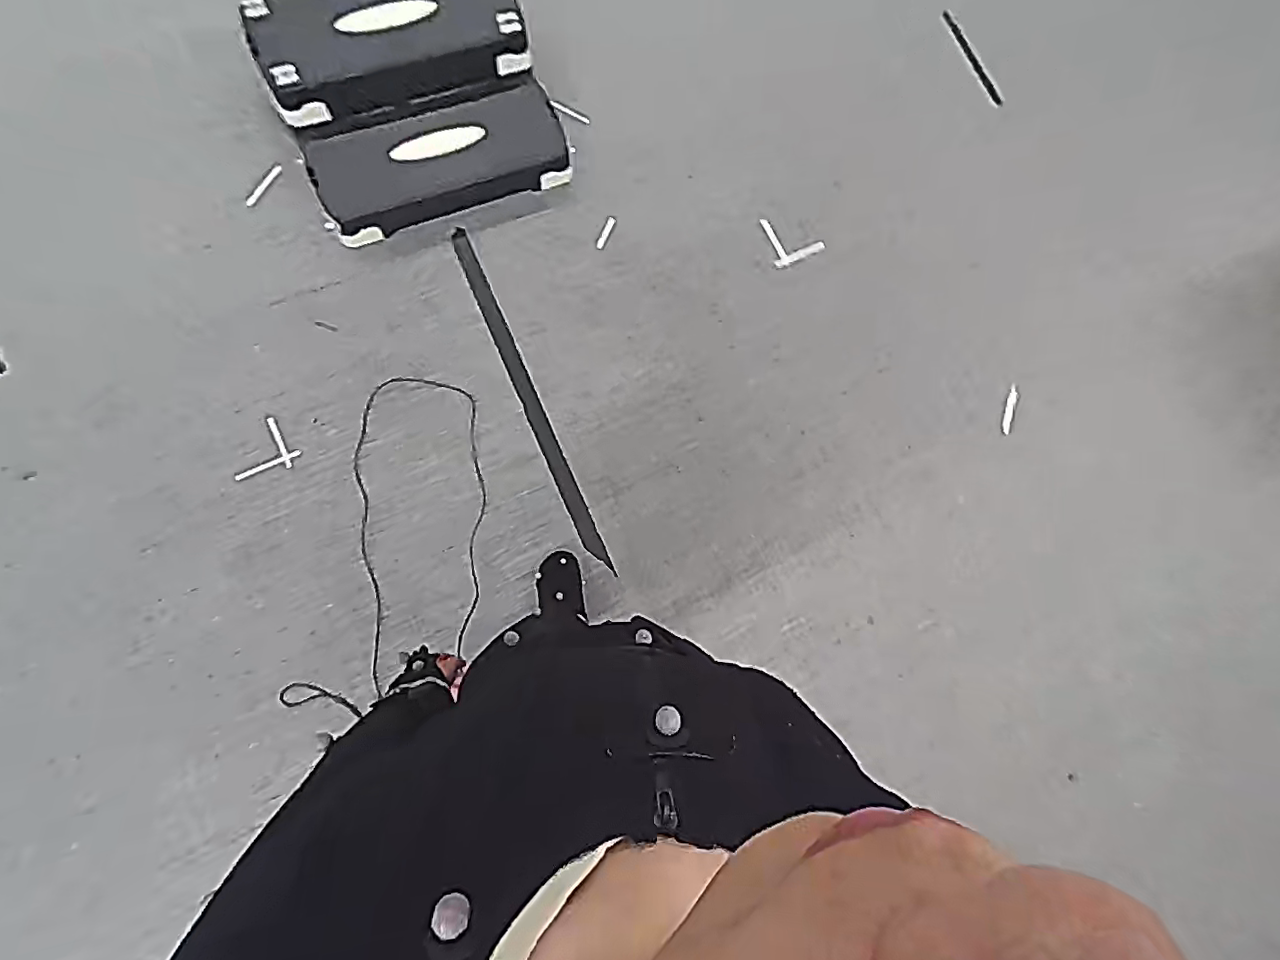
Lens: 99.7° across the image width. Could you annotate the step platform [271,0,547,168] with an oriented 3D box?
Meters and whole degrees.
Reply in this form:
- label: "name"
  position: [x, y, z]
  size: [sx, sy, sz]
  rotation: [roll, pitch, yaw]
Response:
- label: "step platform"
  position: [-0.609, -1.105, 1.483]
  size: [0.684, 0.204, 0.286]
  rotation: [-19, 82, -12]
